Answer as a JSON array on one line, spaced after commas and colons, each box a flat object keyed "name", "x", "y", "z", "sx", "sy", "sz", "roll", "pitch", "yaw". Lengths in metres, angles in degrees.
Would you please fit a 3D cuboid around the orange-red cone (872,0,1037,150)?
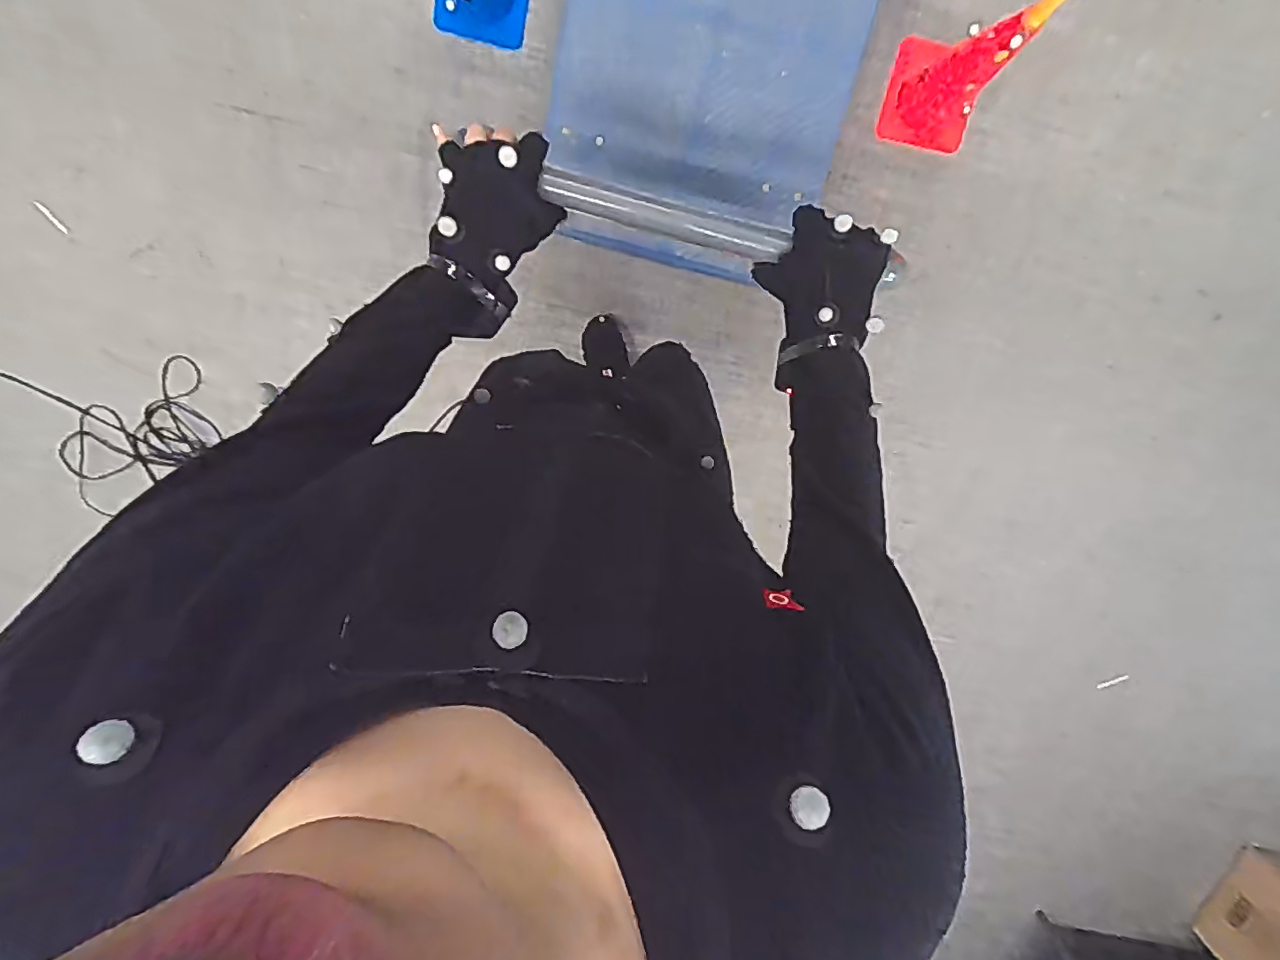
[{"name": "orange-red cone", "x": 0.638, "y": -0.819, "z": 1.056, "sx": 0.199, "sy": 0.360, "sz": 0.198, "roll": 13, "pitch": 107, "yaw": -2}]
